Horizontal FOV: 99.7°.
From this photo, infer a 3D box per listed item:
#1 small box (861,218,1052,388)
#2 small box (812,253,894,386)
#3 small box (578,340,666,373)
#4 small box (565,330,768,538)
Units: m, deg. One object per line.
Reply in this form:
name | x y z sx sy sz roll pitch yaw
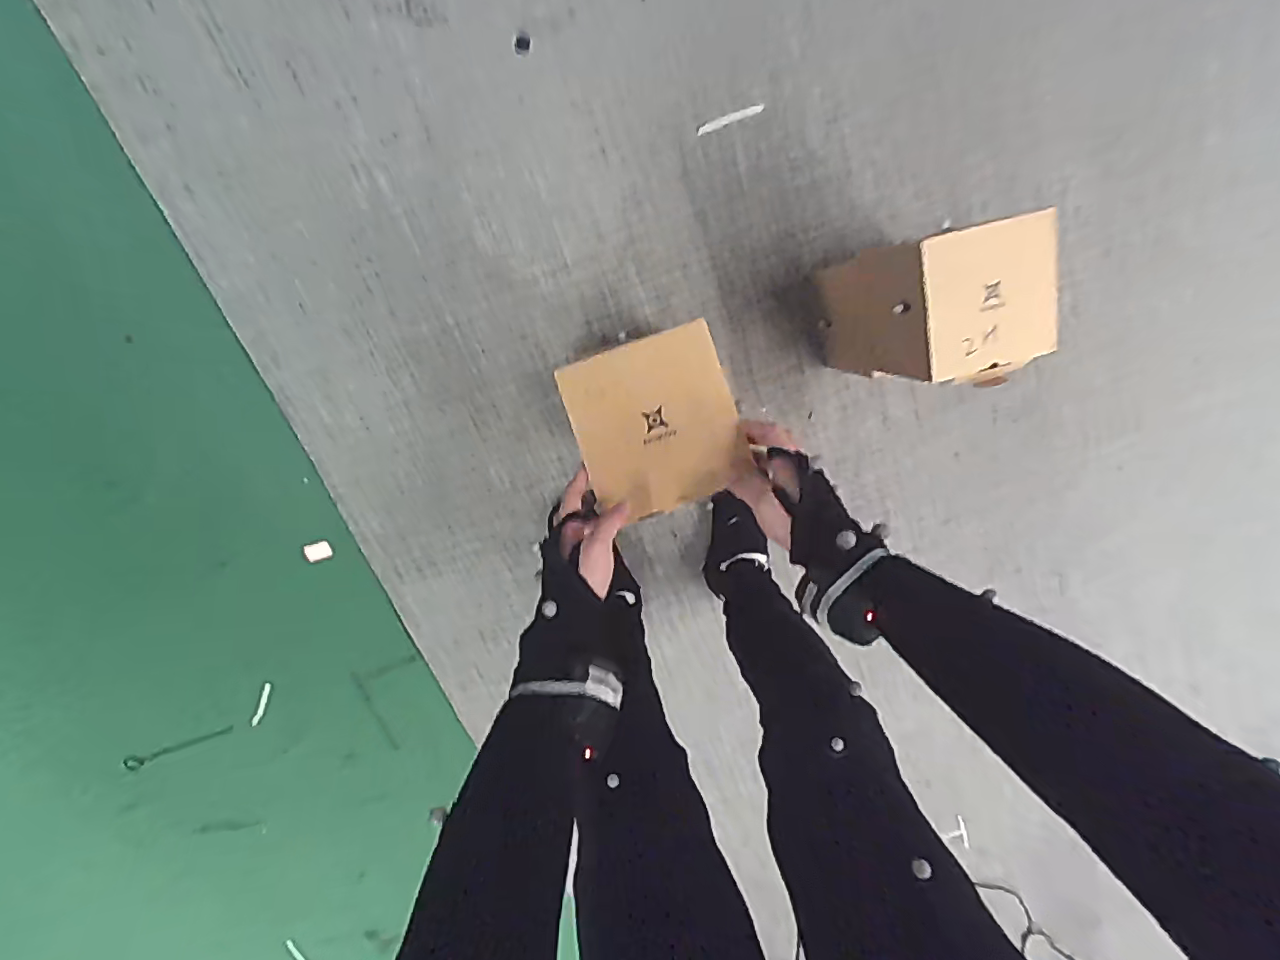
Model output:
small box | 0.423 -0.237 0.746 0.168 0.176 0.179 -14 108 0
small box | 0.410 -0.276 0.905 0.168 0.176 0.179 -19 109 0
small box | -0.003 -0.133 0.924 0.168 0.176 0.179 -16 107 -2
small box | 0.027 -0.043 0.624 0.168 0.176 0.179 -19 88 1
